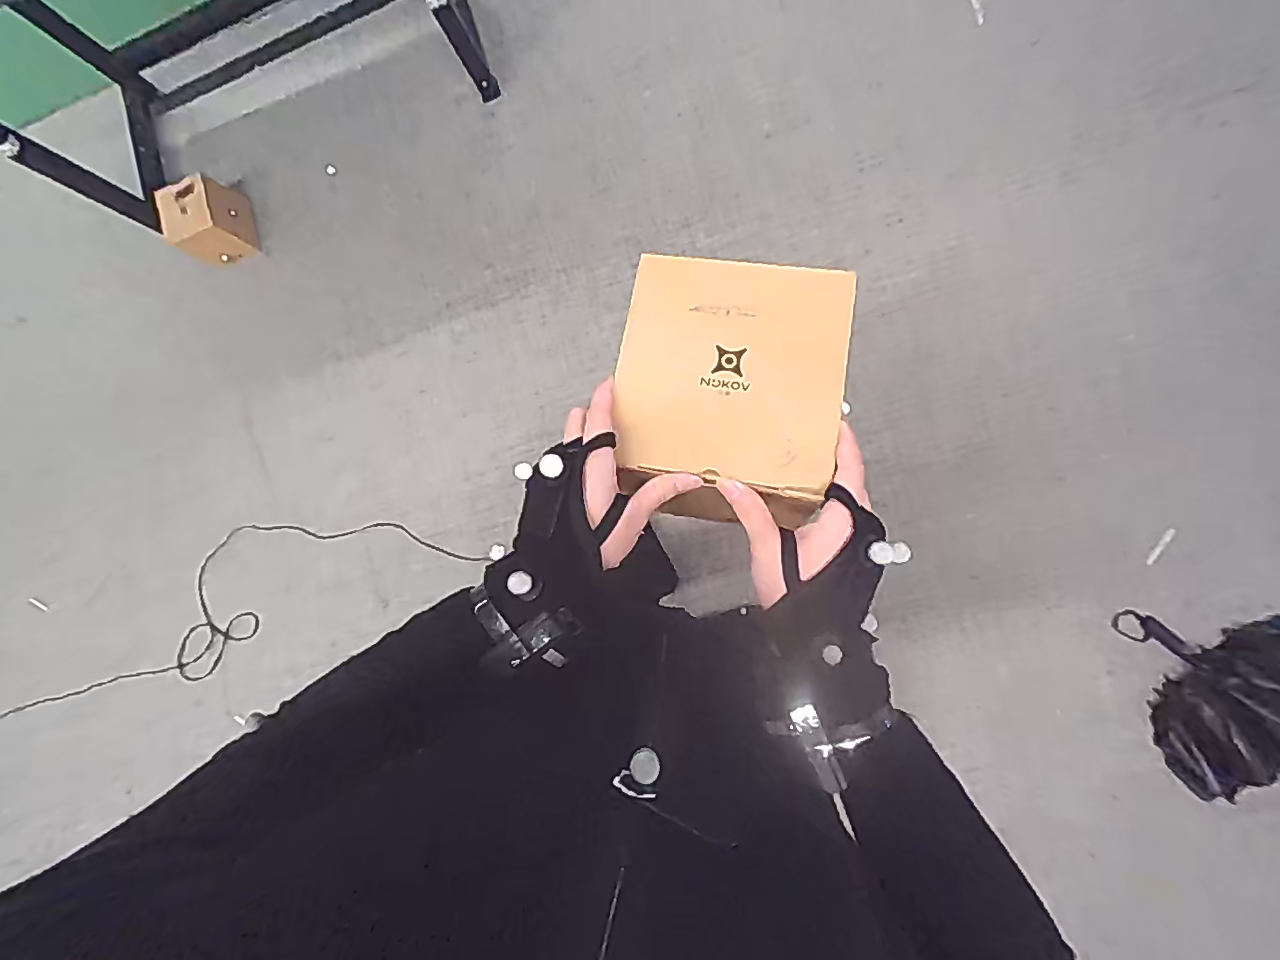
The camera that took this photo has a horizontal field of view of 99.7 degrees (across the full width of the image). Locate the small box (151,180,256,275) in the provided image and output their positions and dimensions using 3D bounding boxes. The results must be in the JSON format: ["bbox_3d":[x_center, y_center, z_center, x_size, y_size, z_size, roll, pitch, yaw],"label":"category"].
[{"bbox_3d":[-1.314,-0.757,1.637,0.168,0.176,0.179,-18,84,8],"label":"small box"}]
